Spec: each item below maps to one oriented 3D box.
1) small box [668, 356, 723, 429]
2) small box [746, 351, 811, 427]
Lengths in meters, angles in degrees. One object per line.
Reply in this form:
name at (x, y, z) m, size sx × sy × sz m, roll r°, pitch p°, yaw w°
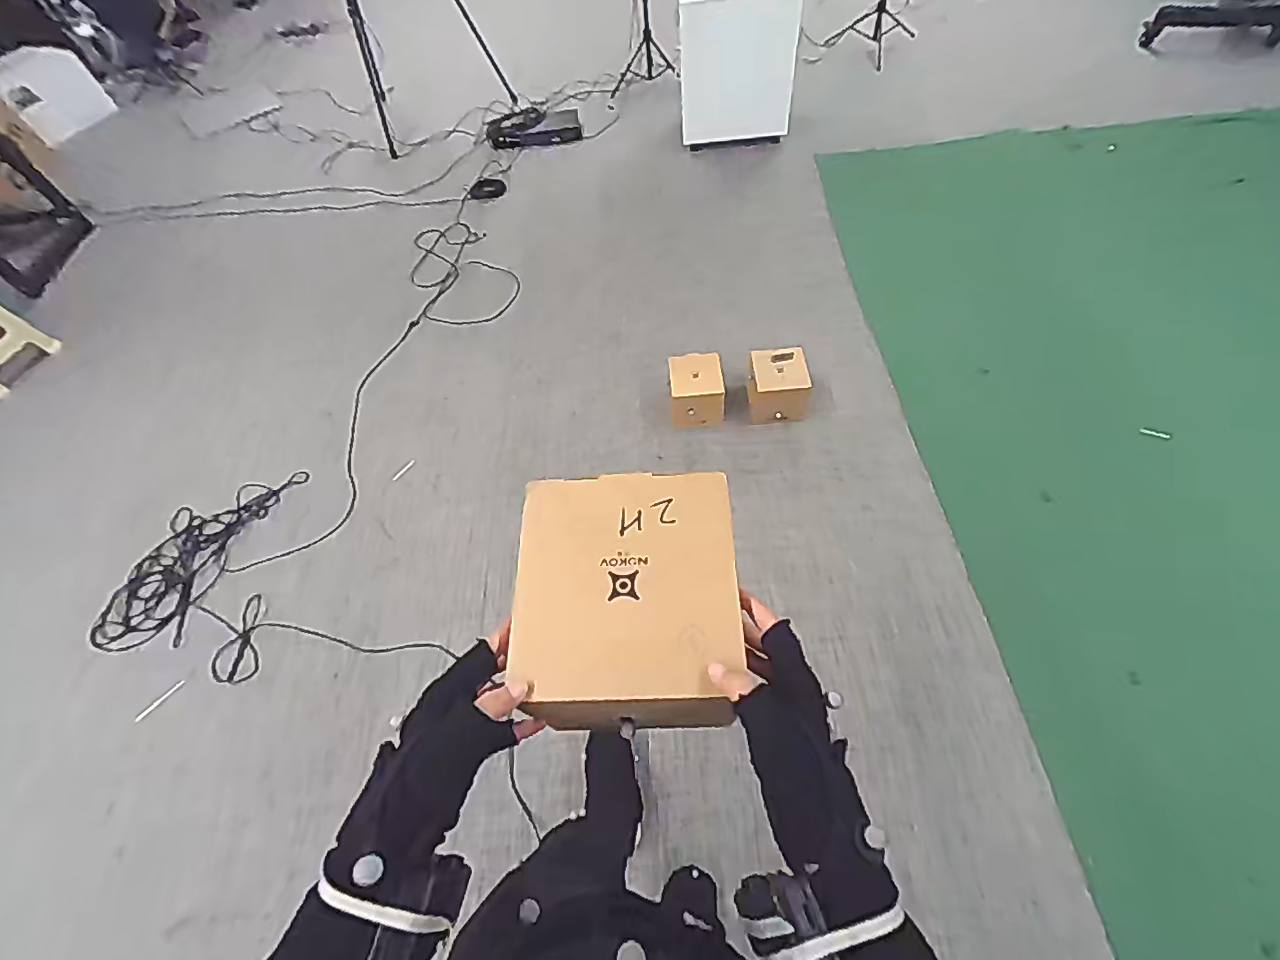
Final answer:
small box at (0.182, -0.280, 1.782) m, size 0.168 × 0.176 × 0.179 m, roll -5°, pitch 57°, yaw 2°
small box at (0.444, -0.295, 1.764) m, size 0.168 × 0.176 × 0.179 m, roll -4°, pitch 58°, yaw 3°
